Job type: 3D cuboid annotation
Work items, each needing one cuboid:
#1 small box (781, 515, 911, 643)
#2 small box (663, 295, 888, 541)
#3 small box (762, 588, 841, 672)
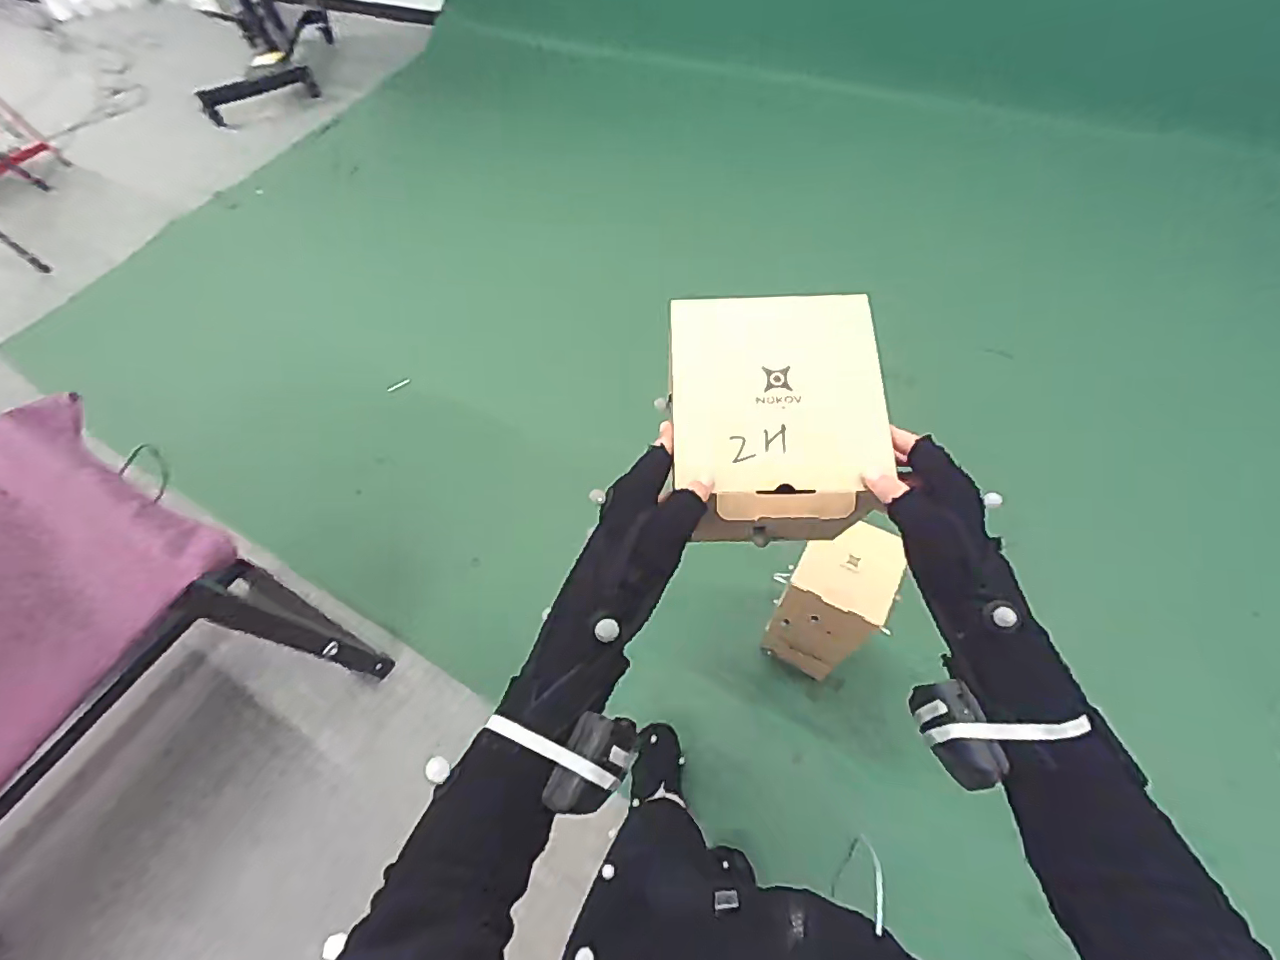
[{"bbox_3d":[0.384,0.183,1.036,0.168,0.176,0.179,25,66,18],"label":"small box"},{"bbox_3d":[0.105,-0.046,0.502,0.168,0.176,0.179,-1,73,3],"label":"small box"},{"bbox_3d":[0.409,0.344,1.321,0.168,0.176,0.179,28,67,19],"label":"small box"}]
